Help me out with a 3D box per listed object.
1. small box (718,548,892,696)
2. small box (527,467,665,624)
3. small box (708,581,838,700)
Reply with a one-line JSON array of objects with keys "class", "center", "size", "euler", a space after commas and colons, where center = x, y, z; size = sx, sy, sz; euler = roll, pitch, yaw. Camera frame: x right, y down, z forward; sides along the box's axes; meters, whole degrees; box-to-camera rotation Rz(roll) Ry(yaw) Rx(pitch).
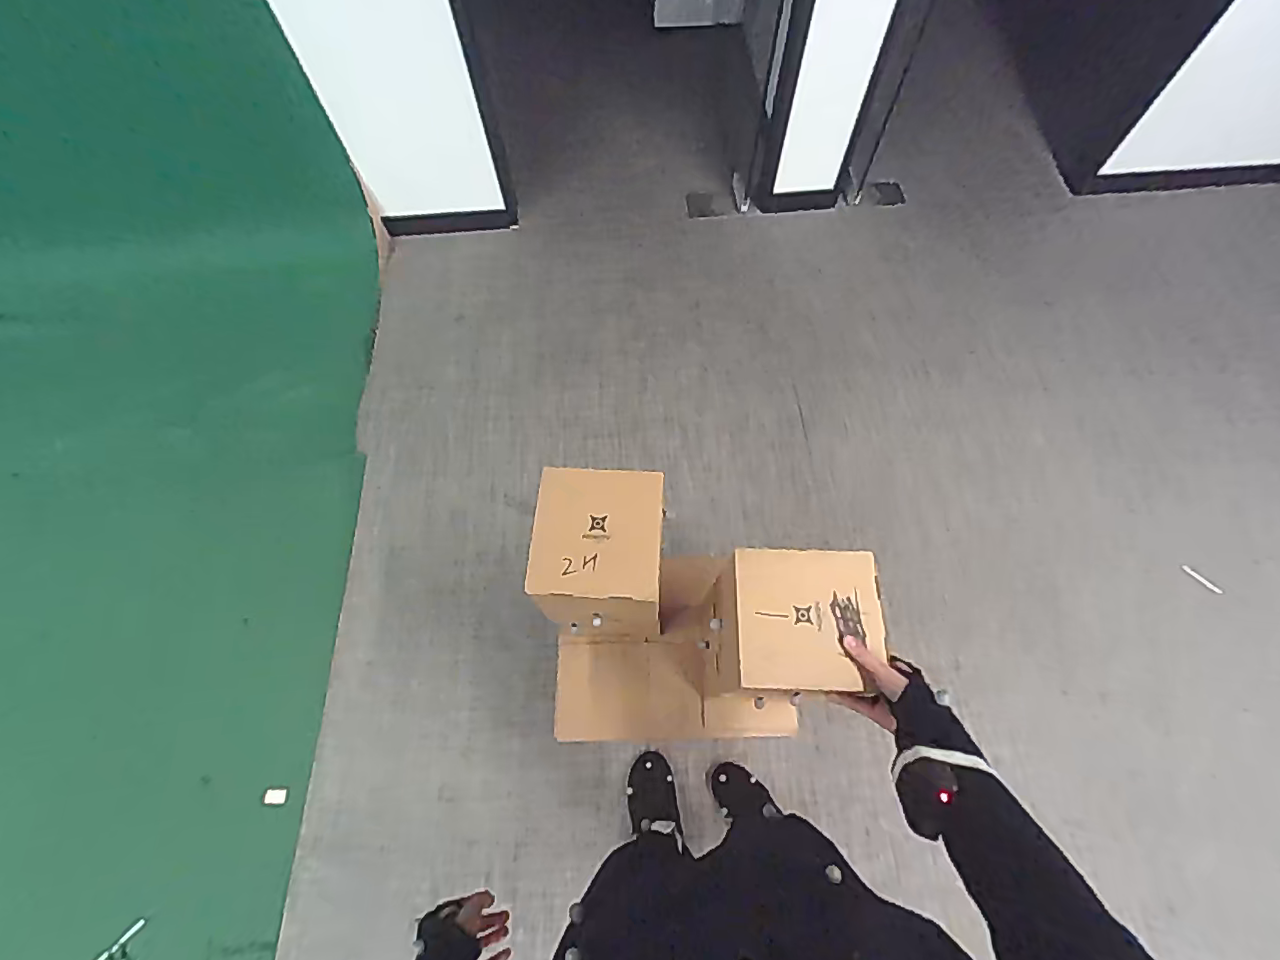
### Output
[{"class": "small box", "center": [0.202, 0.193, 0.715], "size": [0.179, 0.176, 0.168], "euler": [1, 66, 1]}, {"class": "small box", "center": [-0.051, 0.098, 0.769], "size": [0.168, 0.176, 0.179], "euler": [2, 66, 4]}, {"class": "small box", "center": [0.201, 0.260, 0.864], "size": [0.179, 0.176, 0.168], "euler": [0, 68, 2]}]
